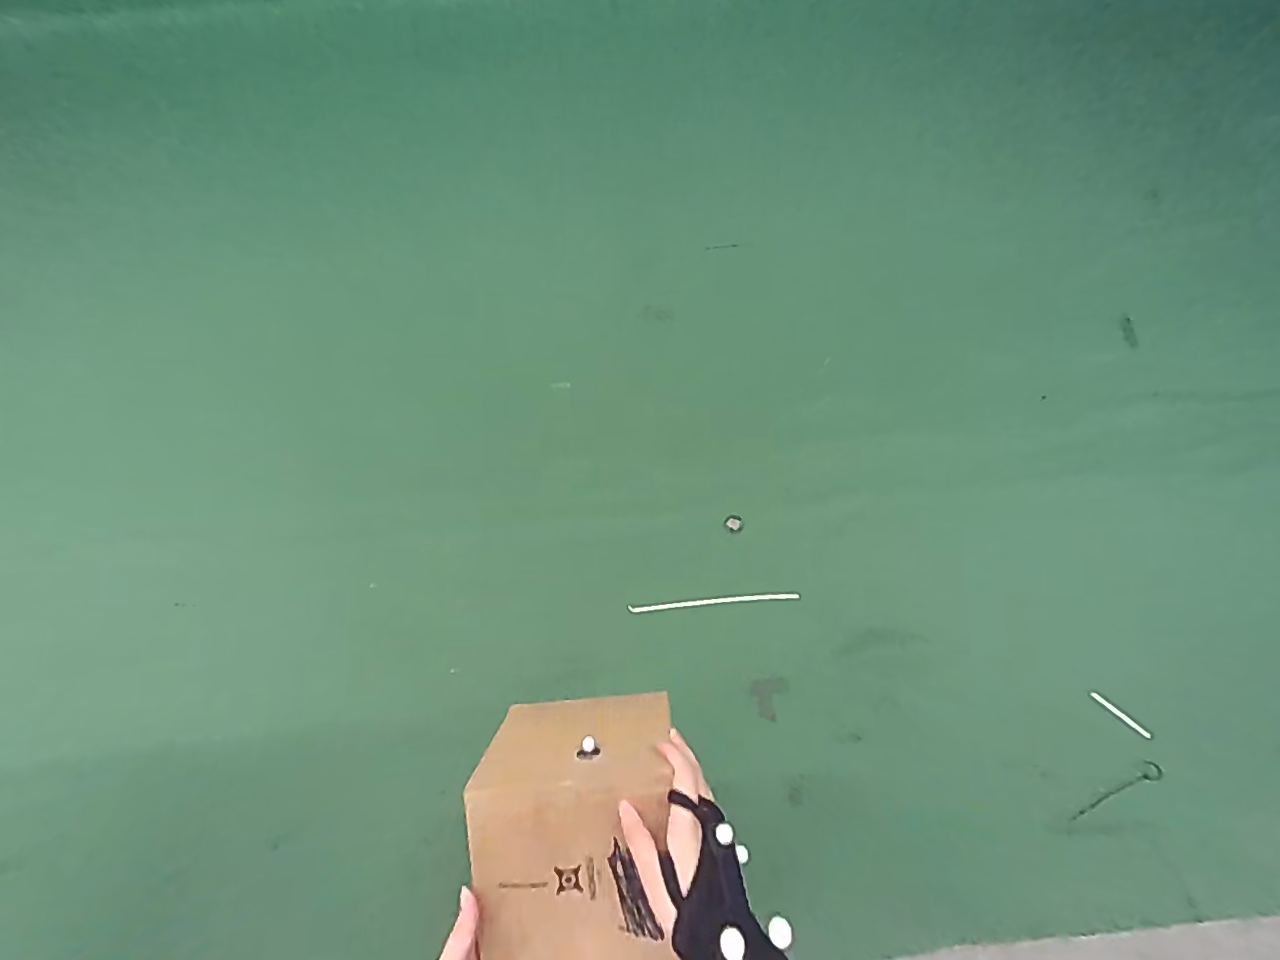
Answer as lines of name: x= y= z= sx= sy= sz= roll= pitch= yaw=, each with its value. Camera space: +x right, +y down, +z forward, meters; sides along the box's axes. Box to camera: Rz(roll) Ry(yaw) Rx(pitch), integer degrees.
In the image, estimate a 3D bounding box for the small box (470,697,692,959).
small box: x=-0.049 y=0.327 z=0.530 sx=0.179 sy=0.176 sz=0.168 roll=-5 pitch=89 yaw=1
